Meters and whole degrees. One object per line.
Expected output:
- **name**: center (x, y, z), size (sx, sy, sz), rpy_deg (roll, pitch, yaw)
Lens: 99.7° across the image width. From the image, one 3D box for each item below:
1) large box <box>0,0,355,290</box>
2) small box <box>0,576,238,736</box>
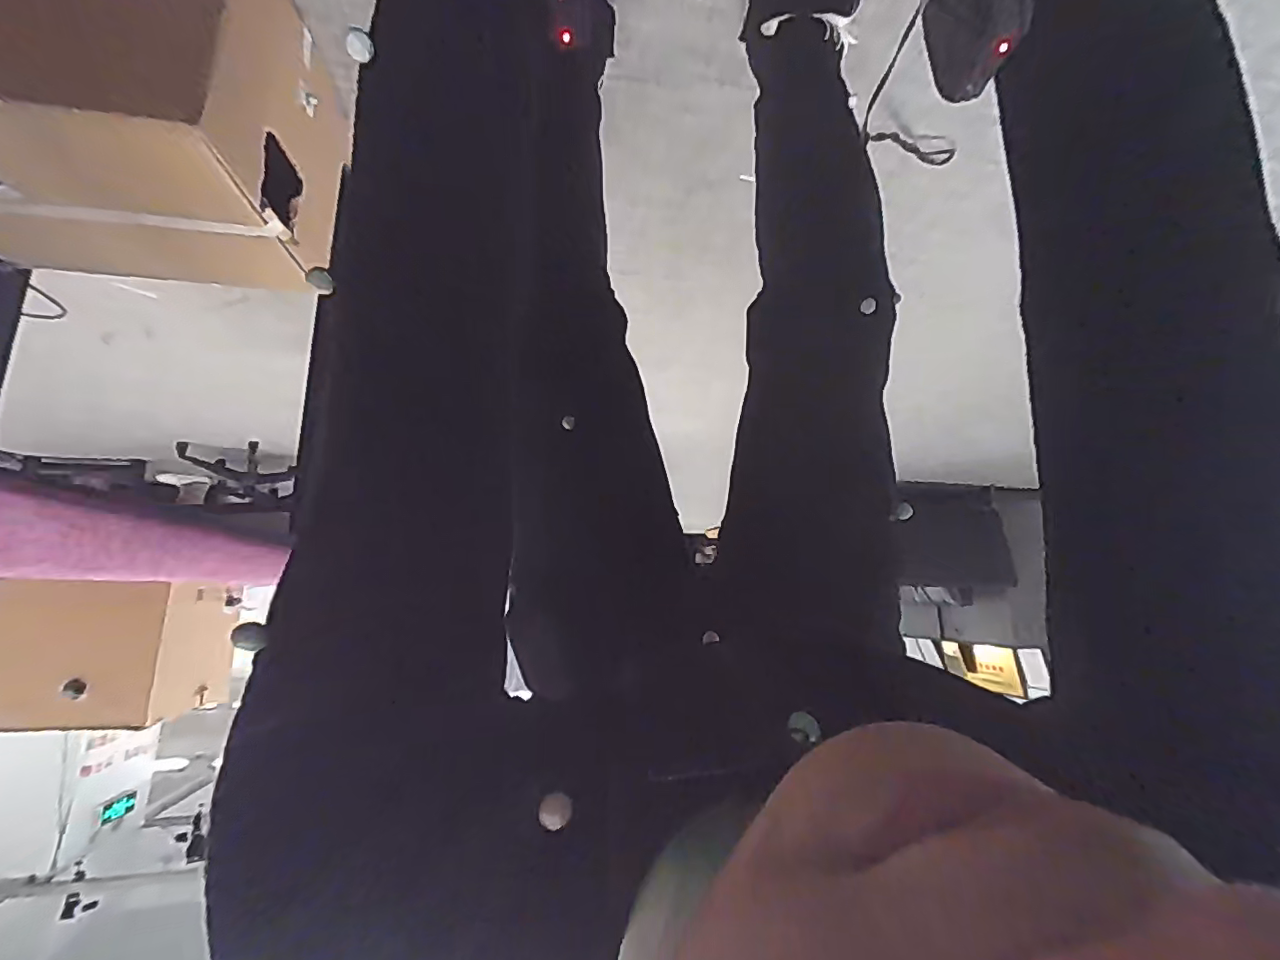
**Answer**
- **large box**: center (-0.637, -0.472, 0.672), size (0.408, 0.320, 0.320), rpy_deg (3, 166, -8)
- **small box**: center (-0.641, 0.207, 0.675), size (0.179, 0.176, 0.168), rpy_deg (4, 167, -9)
